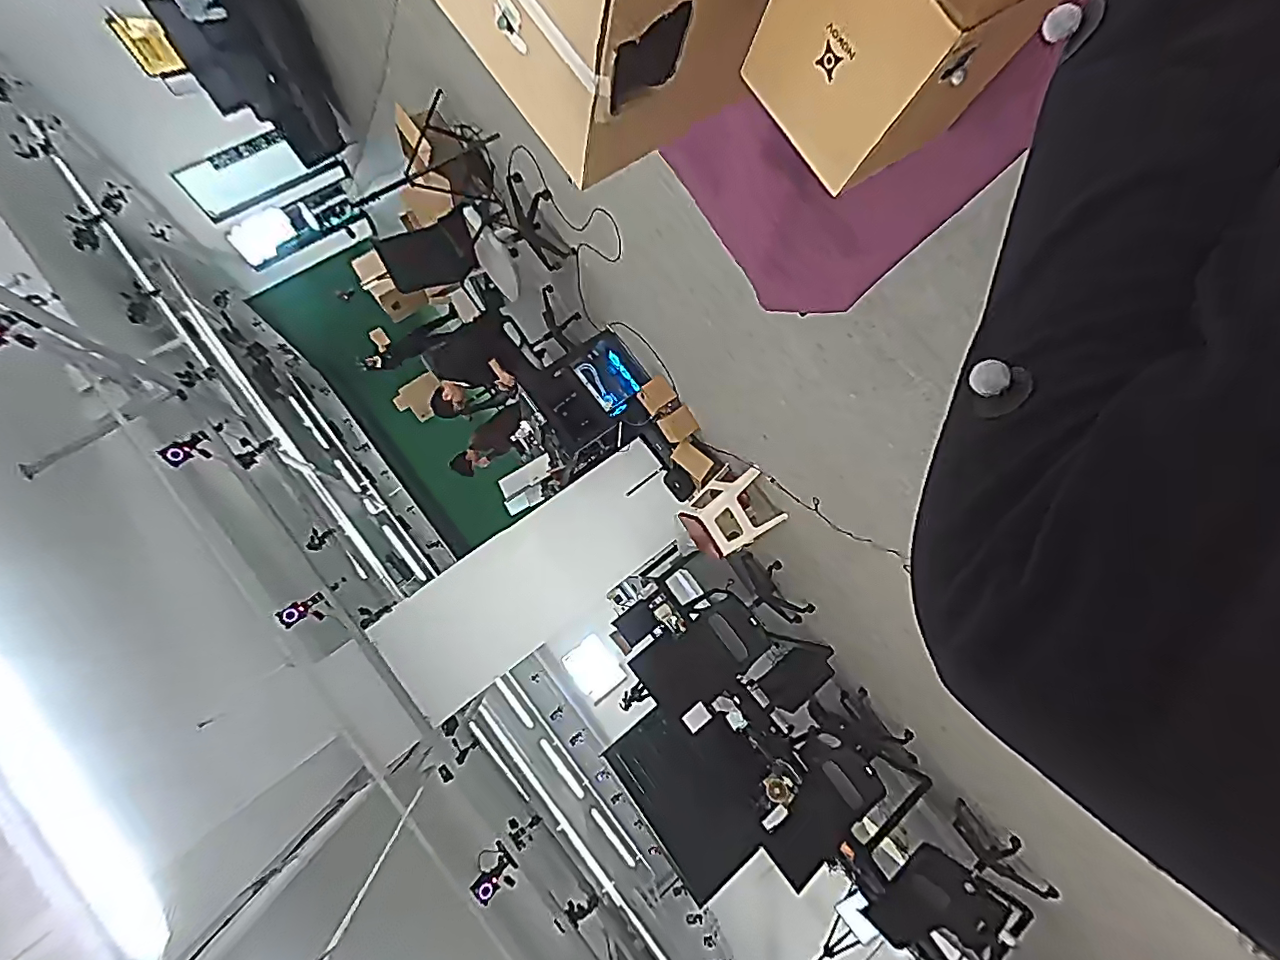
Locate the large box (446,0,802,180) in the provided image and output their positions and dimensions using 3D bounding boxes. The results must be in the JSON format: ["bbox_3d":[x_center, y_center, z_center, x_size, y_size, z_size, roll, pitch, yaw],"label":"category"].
[{"bbox_3d":[-0.037,-0.633,0.556,0.408,0.320,0.320,51,167,0],"label":"large box"}]
